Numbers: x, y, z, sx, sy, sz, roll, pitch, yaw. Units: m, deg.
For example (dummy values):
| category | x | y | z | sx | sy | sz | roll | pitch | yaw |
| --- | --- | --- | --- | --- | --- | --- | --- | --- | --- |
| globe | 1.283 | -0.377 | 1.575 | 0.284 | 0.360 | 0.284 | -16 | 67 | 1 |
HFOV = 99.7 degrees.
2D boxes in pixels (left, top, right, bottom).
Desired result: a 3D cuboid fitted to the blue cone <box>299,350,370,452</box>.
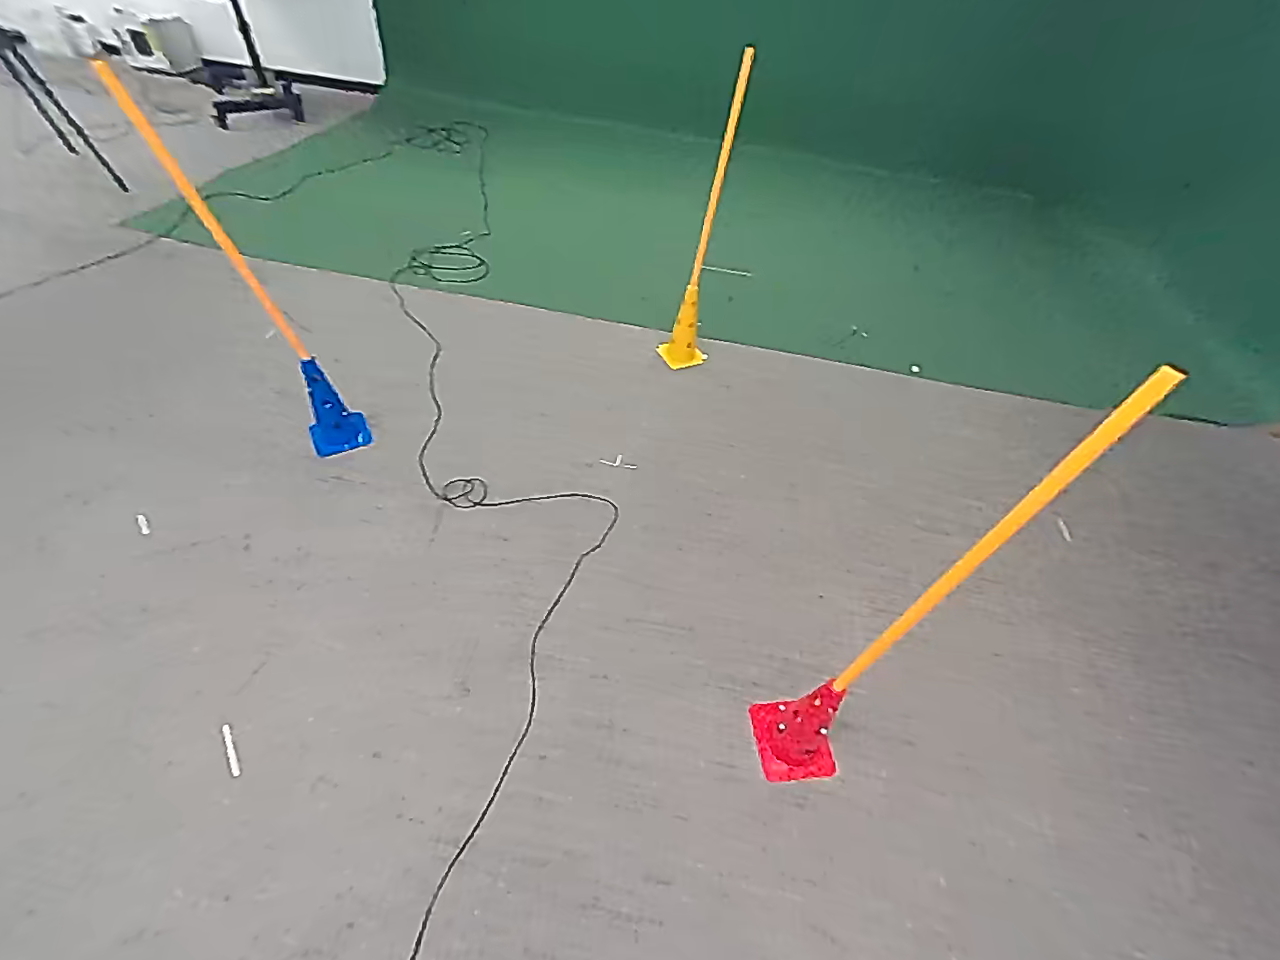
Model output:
| category | x | y | z | sx | sy | sz | roll | pitch | yaw |
| --- | --- | --- | --- | --- | --- | --- | --- | --- | --- |
| blue cone | -1.127 | -0.292 | 1.934 | 0.193 | 0.380 | 0.192 | -24 | 55 | -24 |
